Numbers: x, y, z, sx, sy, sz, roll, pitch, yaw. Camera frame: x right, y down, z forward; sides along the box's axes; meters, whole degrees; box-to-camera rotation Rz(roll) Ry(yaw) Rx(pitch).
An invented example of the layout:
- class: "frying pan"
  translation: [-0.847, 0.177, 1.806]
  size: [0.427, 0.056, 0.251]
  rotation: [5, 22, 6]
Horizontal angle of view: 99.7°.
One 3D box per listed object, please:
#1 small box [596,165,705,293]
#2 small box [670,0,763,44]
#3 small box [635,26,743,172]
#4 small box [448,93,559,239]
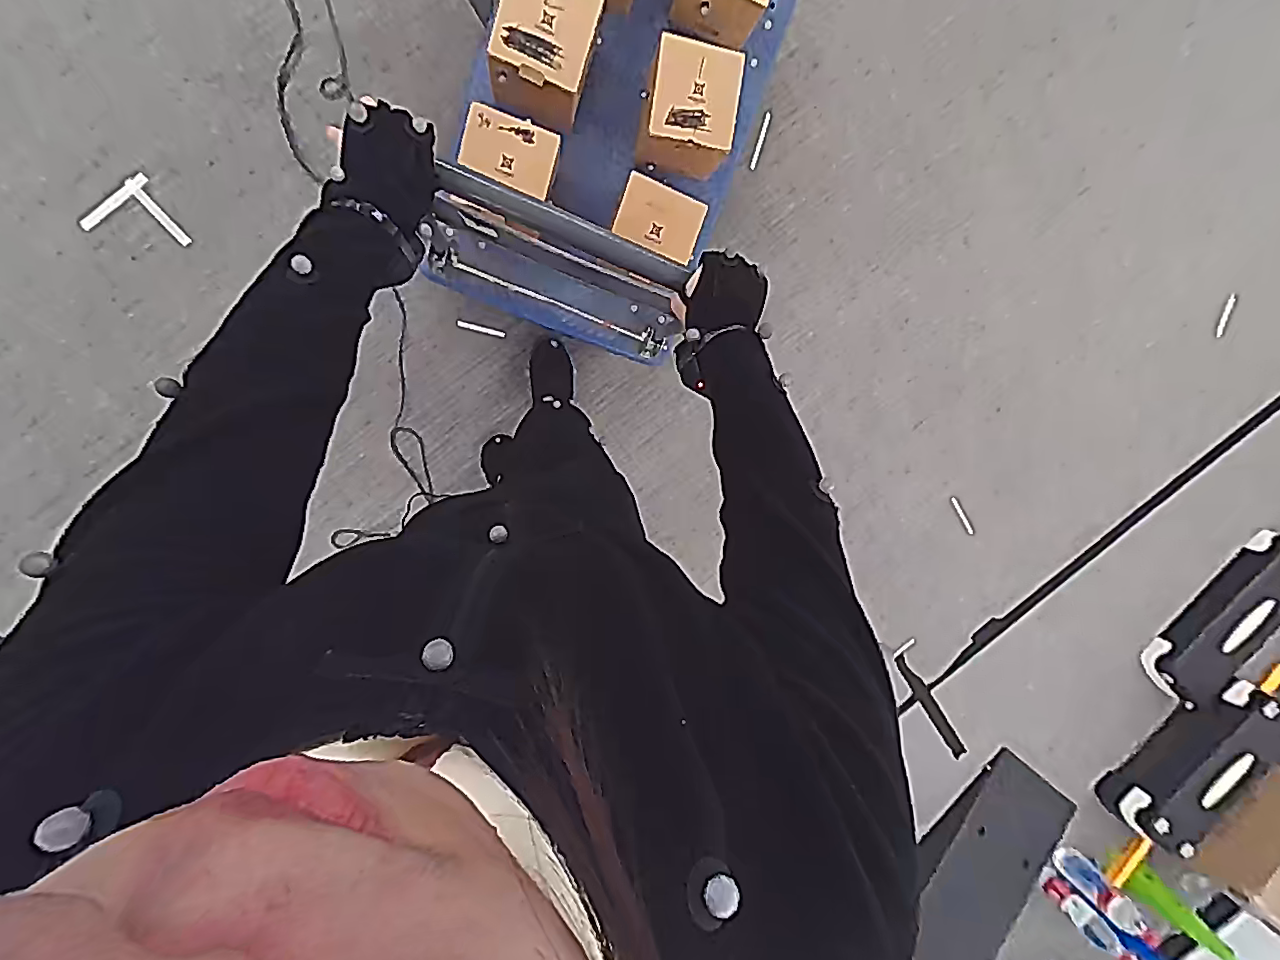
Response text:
- class: "small box"
  translation: [0.013, -0.512, 1.135]
  size: [0.168, 0.176, 0.179]
  rotation: [19, 97, -15]
- class: "small box"
  translation: [0.169, -1.013, 1.057]
  size: [0.168, 0.176, 0.179]
  rotation: [16, 99, -13]
- class: "small box"
  translation: [0.090, -0.755, 1.097]
  size: [0.168, 0.176, 0.179]
  rotation: [6, 100, -12]
- class: "small box"
  translation: [-0.263, -0.599, 1.062]
  size: [0.168, 0.176, 0.179]
  rotation: [15, 99, -14]
